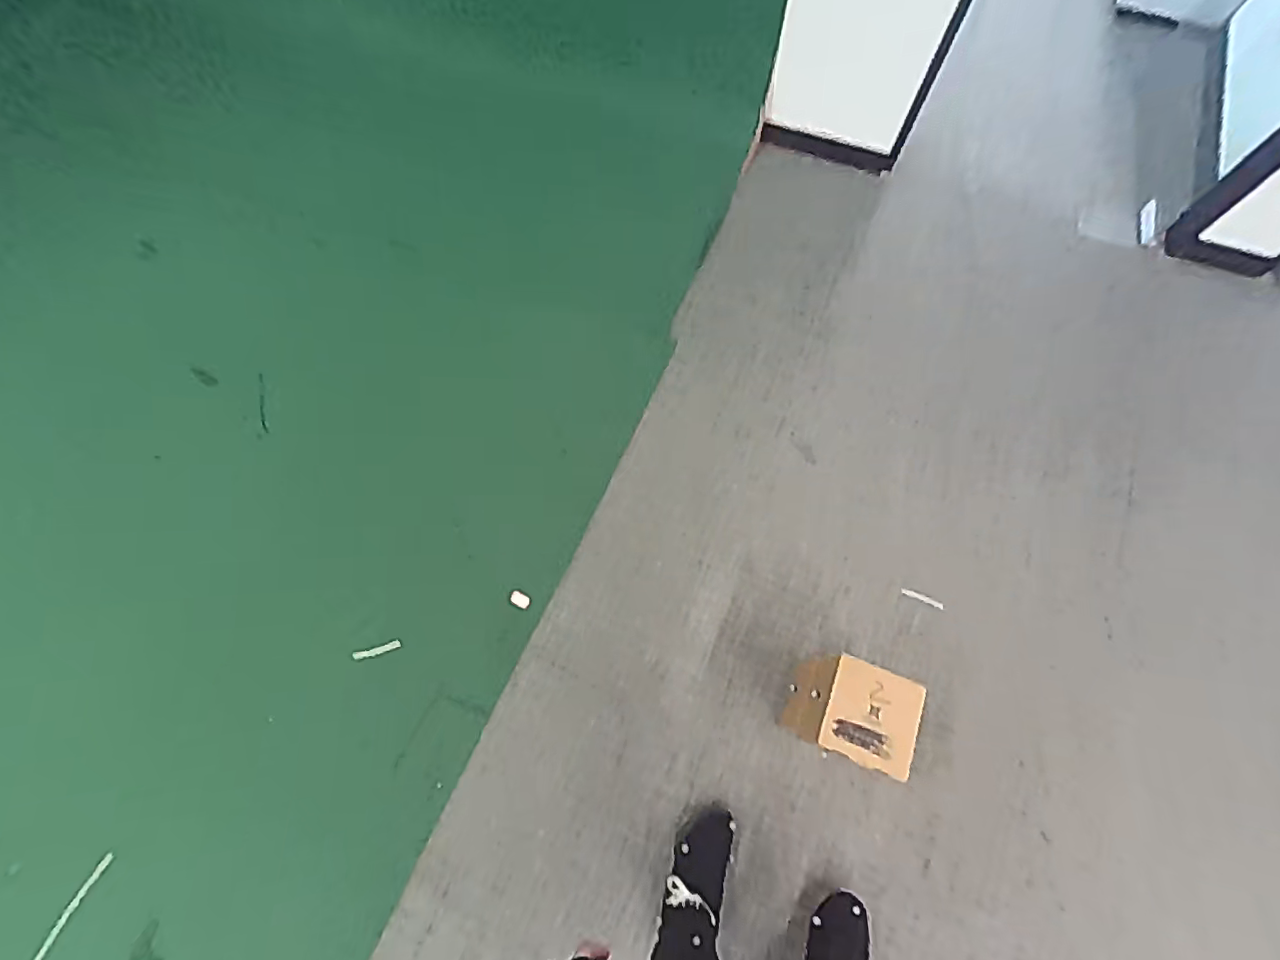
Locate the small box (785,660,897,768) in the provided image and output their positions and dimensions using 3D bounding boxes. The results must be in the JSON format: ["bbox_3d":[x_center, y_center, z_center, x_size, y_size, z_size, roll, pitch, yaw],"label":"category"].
[{"bbox_3d":[0.448,0.528,1.231,0.179,0.176,0.168,21,70,9],"label":"small box"}]
